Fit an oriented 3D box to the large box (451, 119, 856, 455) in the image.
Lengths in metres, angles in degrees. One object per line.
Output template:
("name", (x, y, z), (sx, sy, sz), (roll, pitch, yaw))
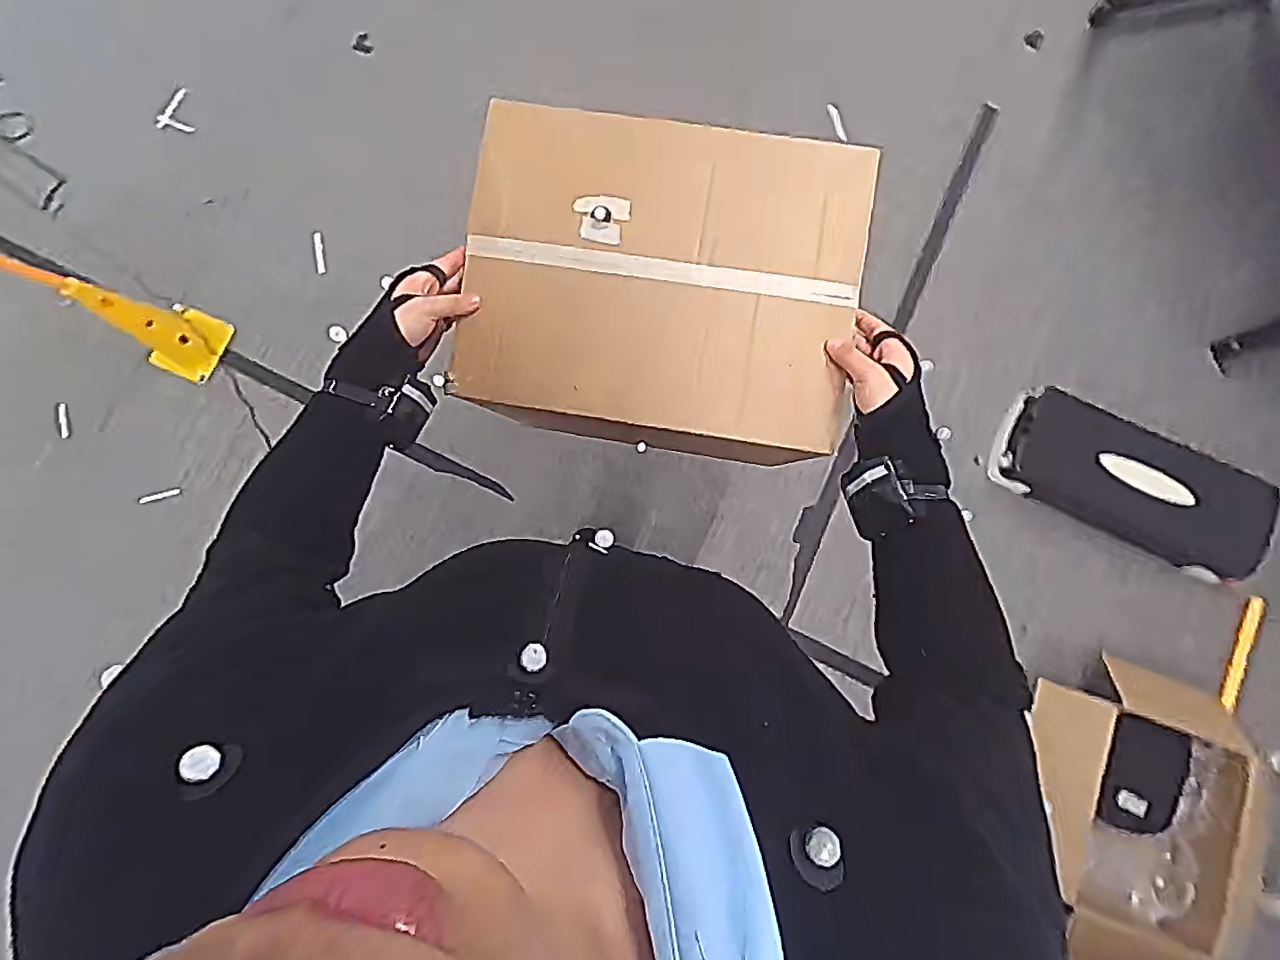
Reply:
("large box", (0.021, -0.211, 0.716), (0.408, 0.320, 0.320), (8, 88, 3))
